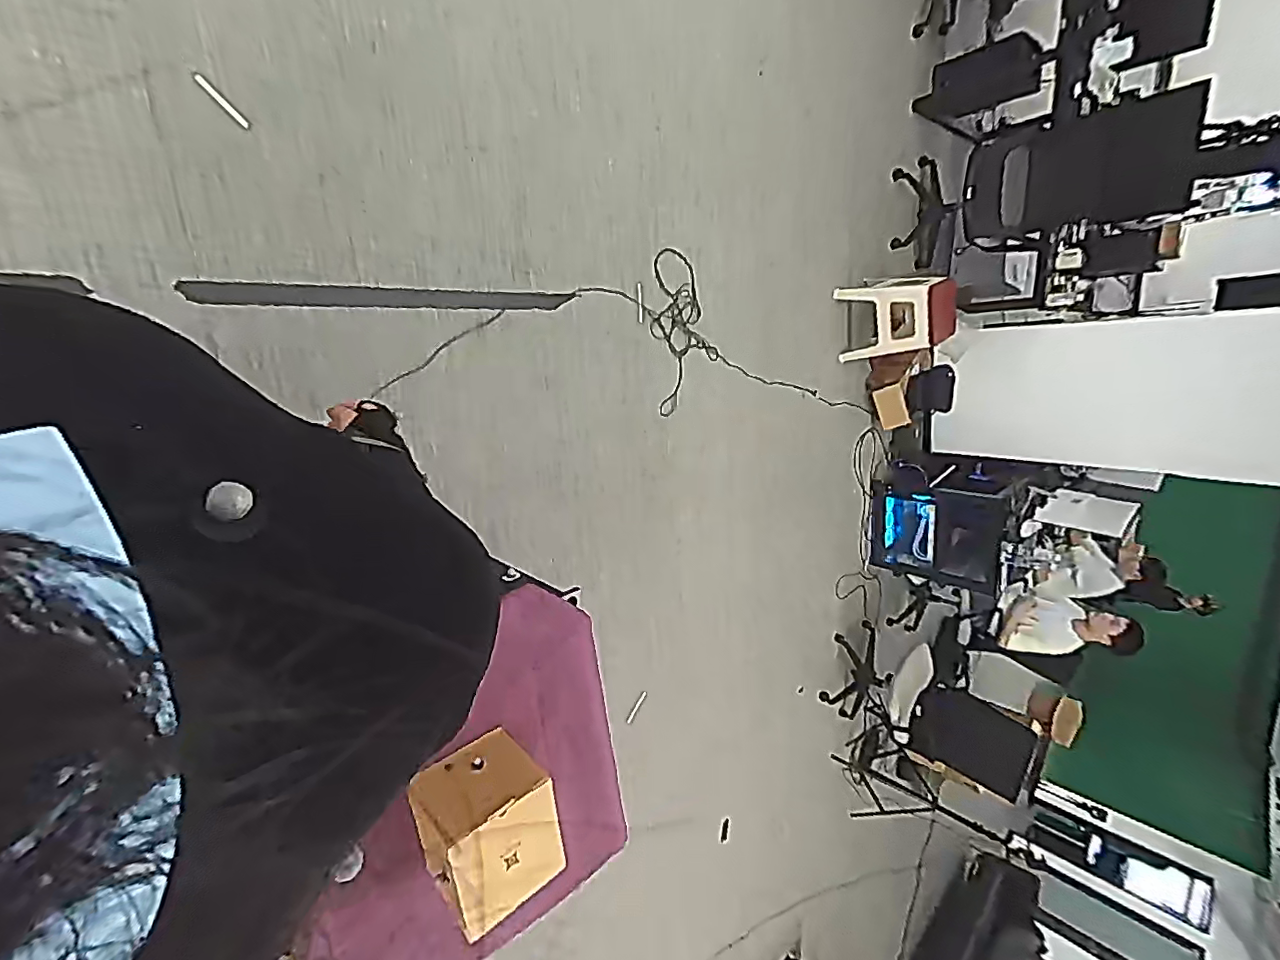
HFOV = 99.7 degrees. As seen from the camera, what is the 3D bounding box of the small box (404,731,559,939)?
[{"bbox_3d":[-0.250,0.542,0.853,0.168,0.176,0.179,-18,108,-38],"label":"small box"}]
